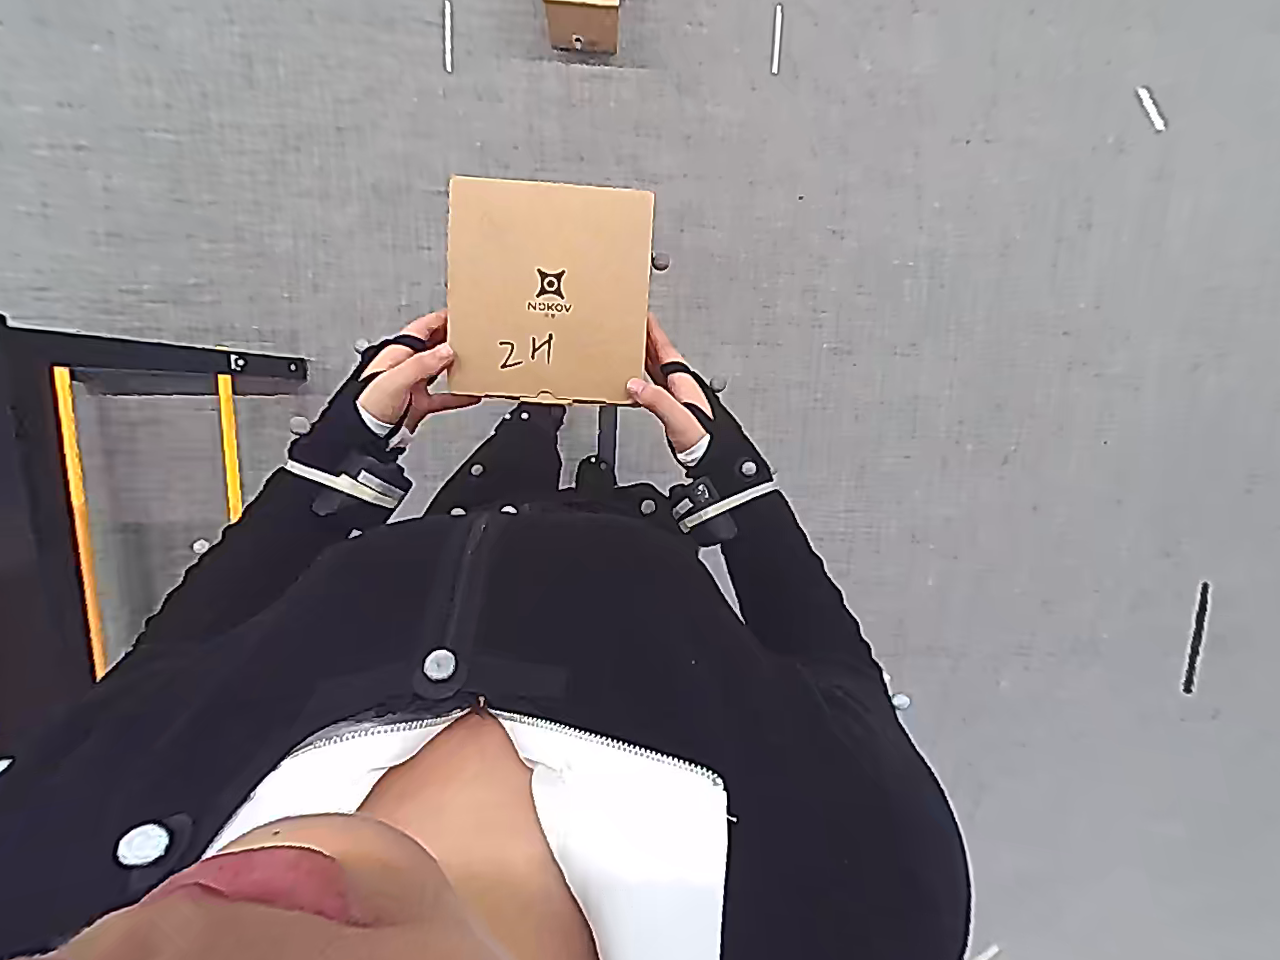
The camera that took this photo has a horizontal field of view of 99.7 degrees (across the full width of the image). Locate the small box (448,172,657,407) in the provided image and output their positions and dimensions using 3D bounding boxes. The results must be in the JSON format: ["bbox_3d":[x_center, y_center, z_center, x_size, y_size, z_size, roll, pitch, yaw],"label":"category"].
[{"bbox_3d":[-0.076,-0.164,0.523,0.168,0.176,0.179,3,97,-2],"label":"small box"}]

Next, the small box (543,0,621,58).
[{"bbox_3d":[-0.127,-1.109,1.226,0.168,0.176,0.179,1,100,-3],"label":"small box"}]
